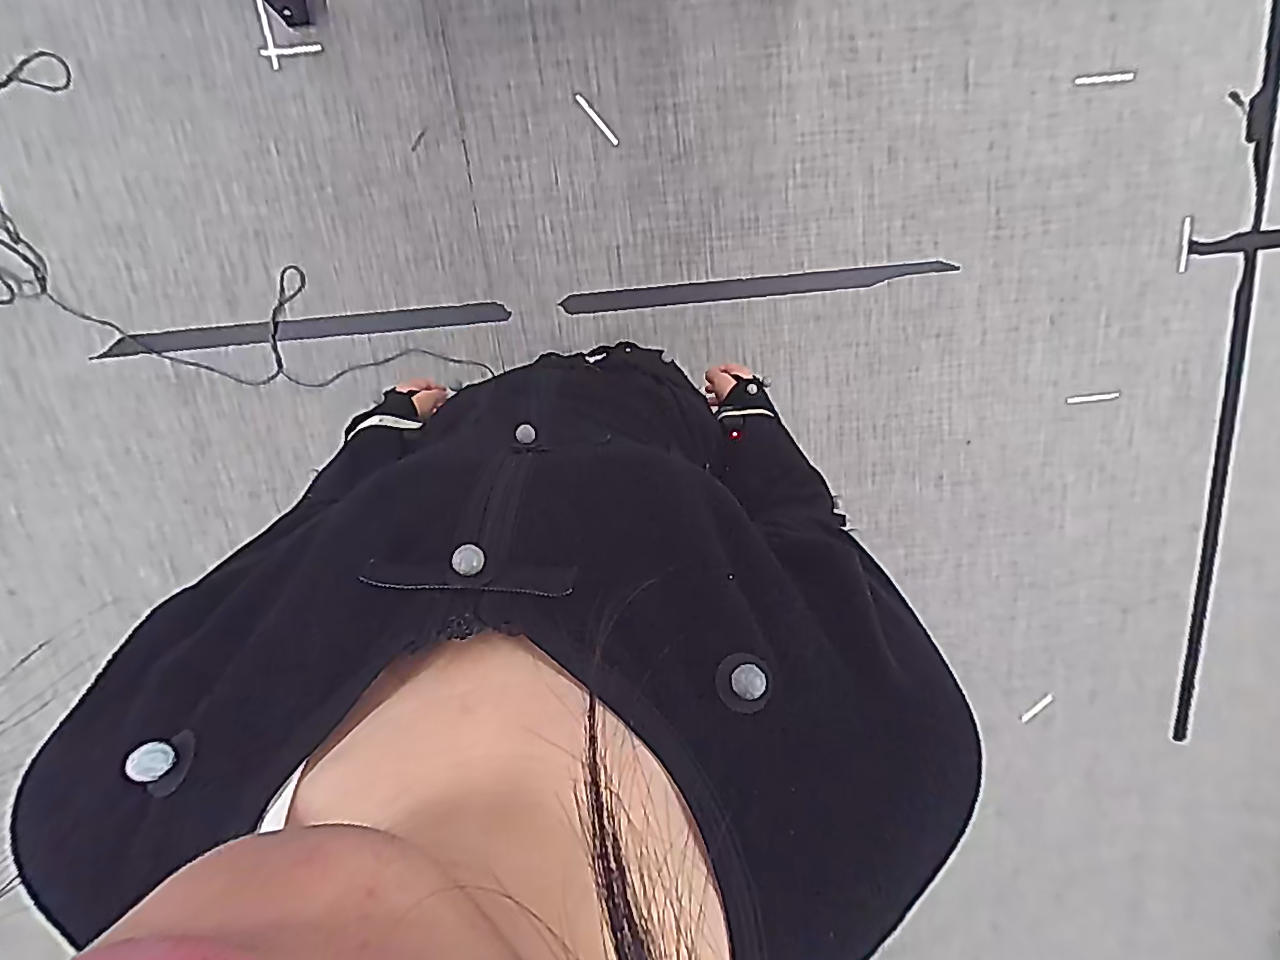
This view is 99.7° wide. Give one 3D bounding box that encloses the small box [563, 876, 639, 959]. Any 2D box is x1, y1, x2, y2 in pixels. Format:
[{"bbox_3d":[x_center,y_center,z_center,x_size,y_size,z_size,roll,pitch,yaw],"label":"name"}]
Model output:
[{"bbox_3d":[-0.097,1.158,1.383,0.179,0.176,0.168,-7,102,-1],"label":"small box"}]
